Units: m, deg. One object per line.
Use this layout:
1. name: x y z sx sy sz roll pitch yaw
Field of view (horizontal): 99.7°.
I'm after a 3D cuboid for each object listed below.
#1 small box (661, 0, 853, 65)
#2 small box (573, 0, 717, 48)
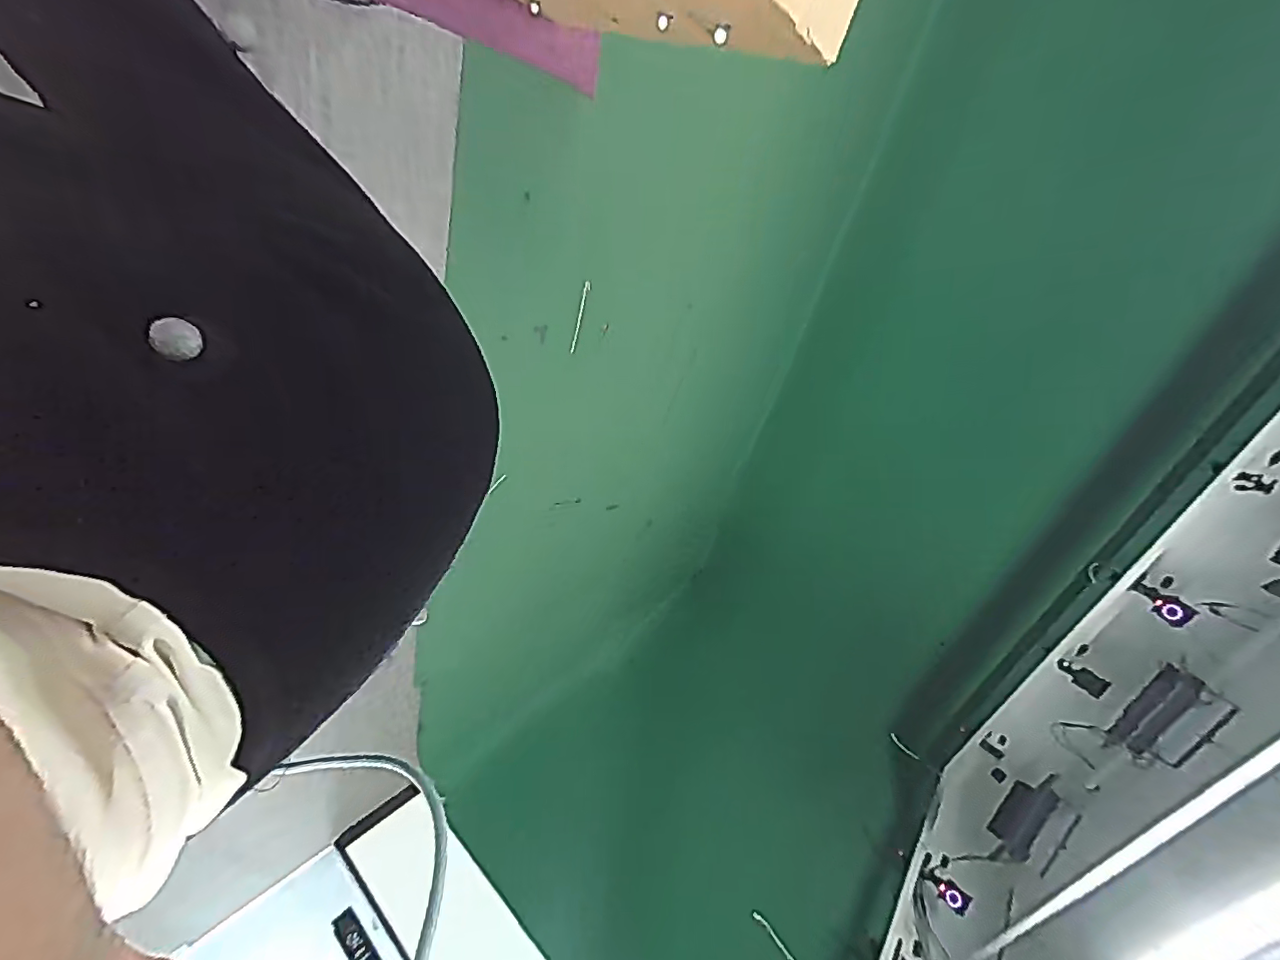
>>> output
1. small box: 0.139 -0.594 0.584 0.168 0.176 0.179 -15 132 -50
2. small box: 0.018 -0.673 0.662 0.168 0.176 0.179 -16 132 -49
